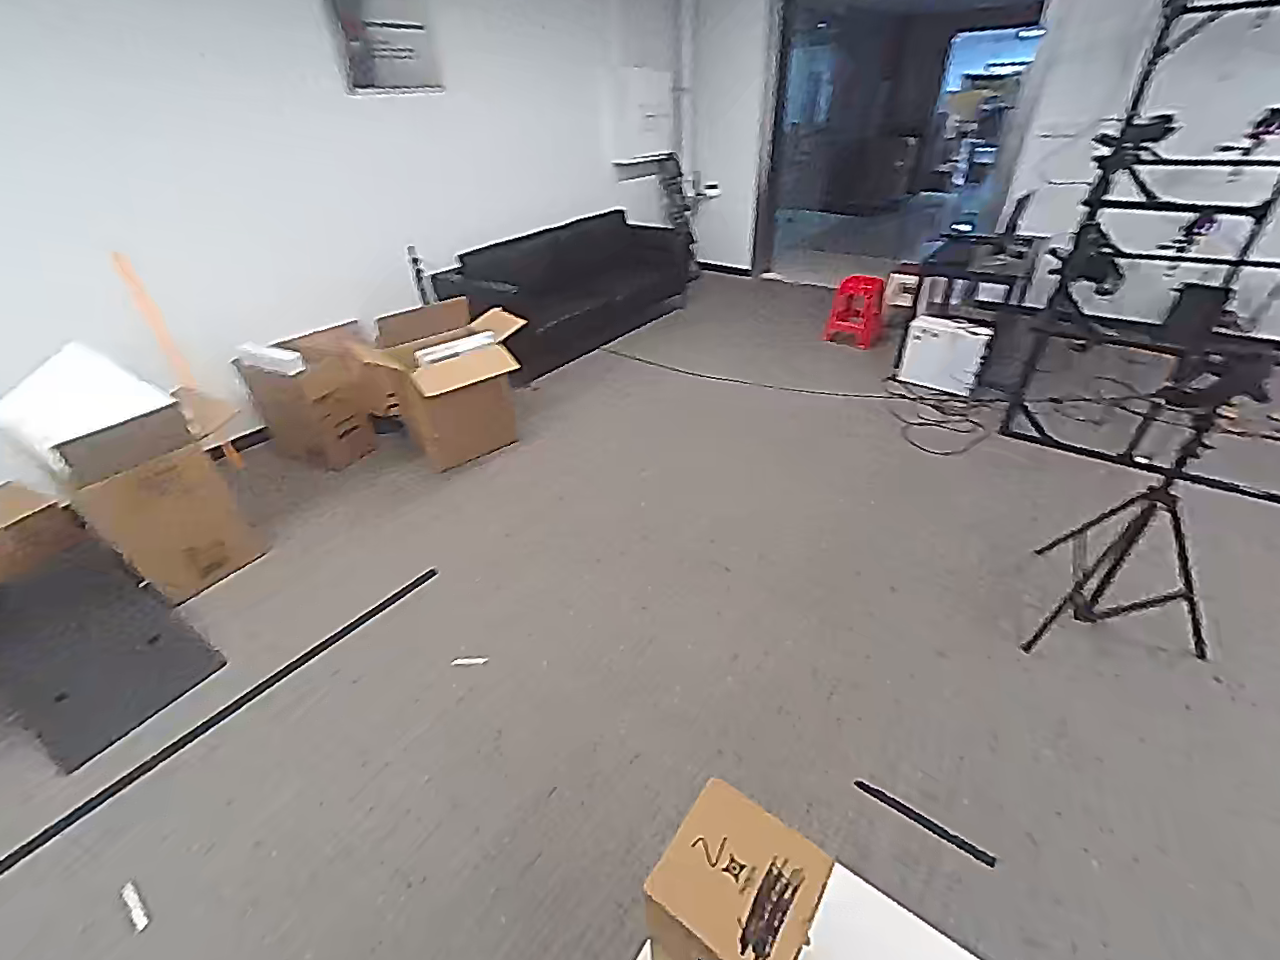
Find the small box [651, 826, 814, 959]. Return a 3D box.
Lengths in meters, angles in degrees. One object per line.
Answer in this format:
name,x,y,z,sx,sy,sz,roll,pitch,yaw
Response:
small box,0.133,0.669,0.788,0.168,0.176,0.179,23,42,31
